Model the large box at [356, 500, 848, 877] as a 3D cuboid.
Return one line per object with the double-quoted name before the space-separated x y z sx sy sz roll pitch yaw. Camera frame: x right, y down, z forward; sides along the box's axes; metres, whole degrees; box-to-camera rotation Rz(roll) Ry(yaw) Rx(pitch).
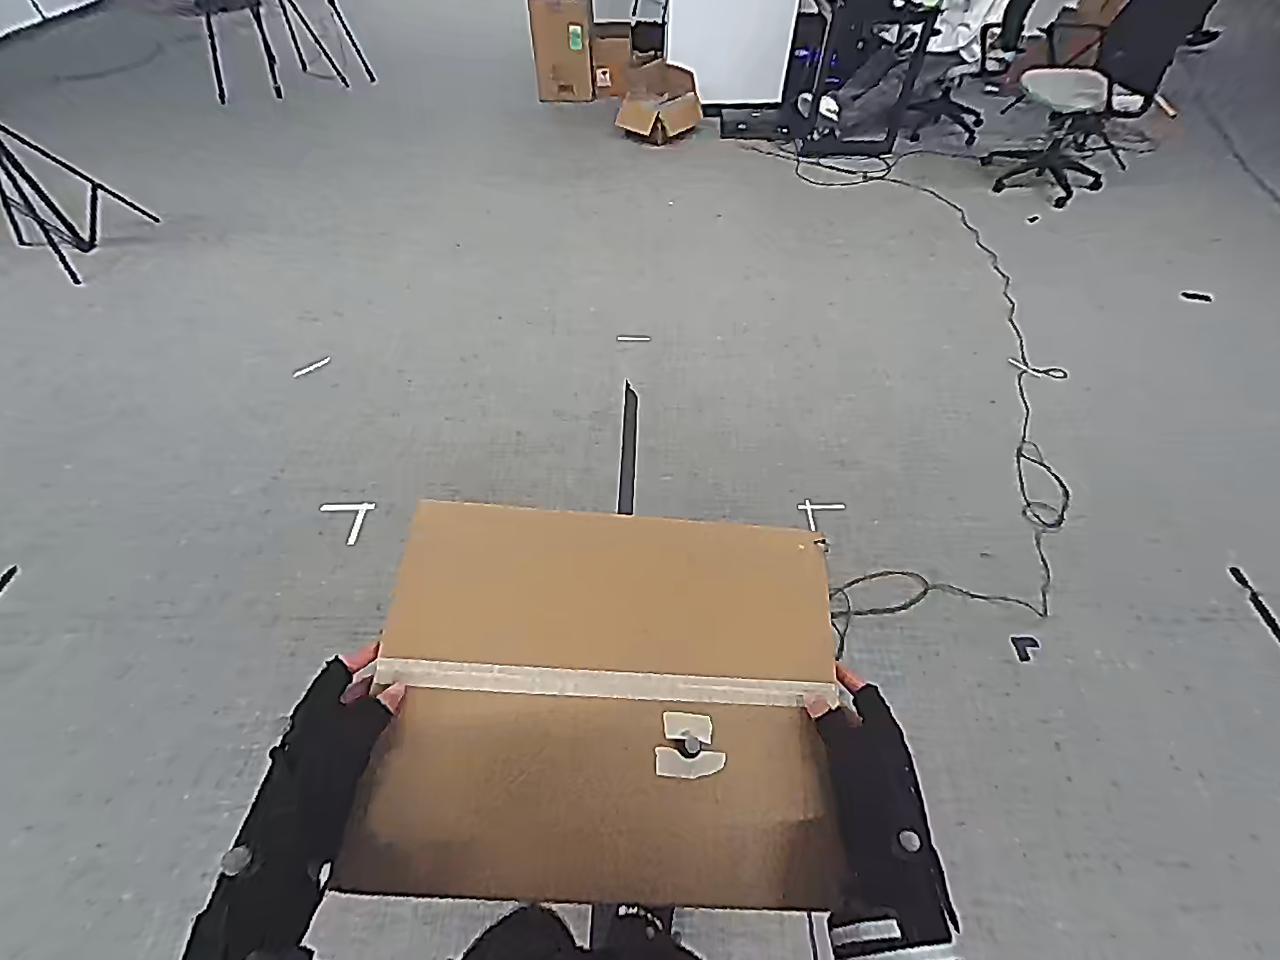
"large box" -0.035 0.232 0.625 0.408 0.320 0.320 5 67 -4
